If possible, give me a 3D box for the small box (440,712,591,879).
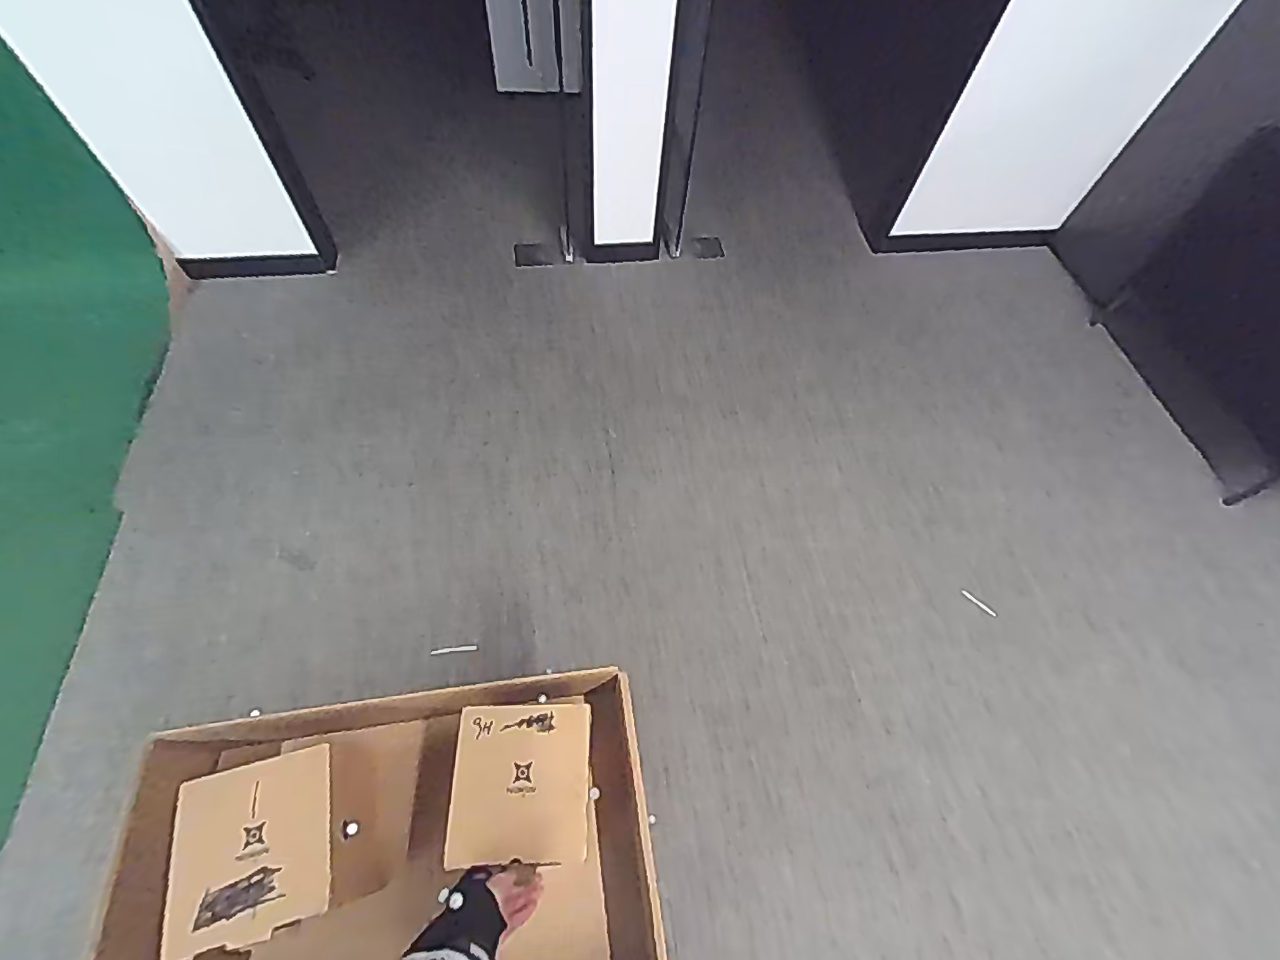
[{"bbox_3d":[-0.152,0.414,0.726,0.168,0.176,0.179,1,60,-4],"label":"small box"}]
